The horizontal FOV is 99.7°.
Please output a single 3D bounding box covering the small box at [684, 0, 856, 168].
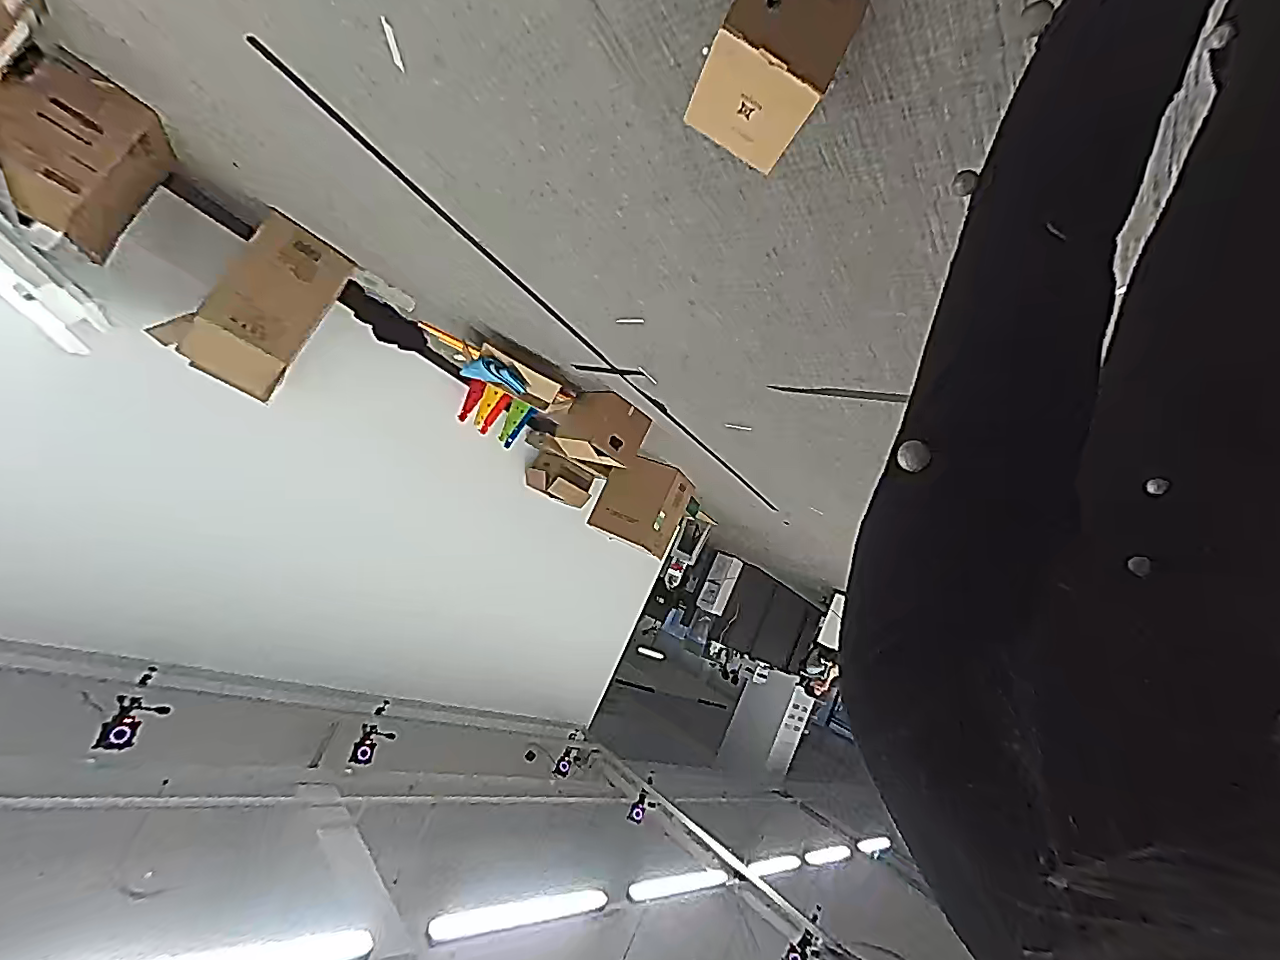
[{"bbox_3d":[0.191,-0.623,0.800,0.168,0.176,0.179,28,171,-7],"label":"small box"}]
